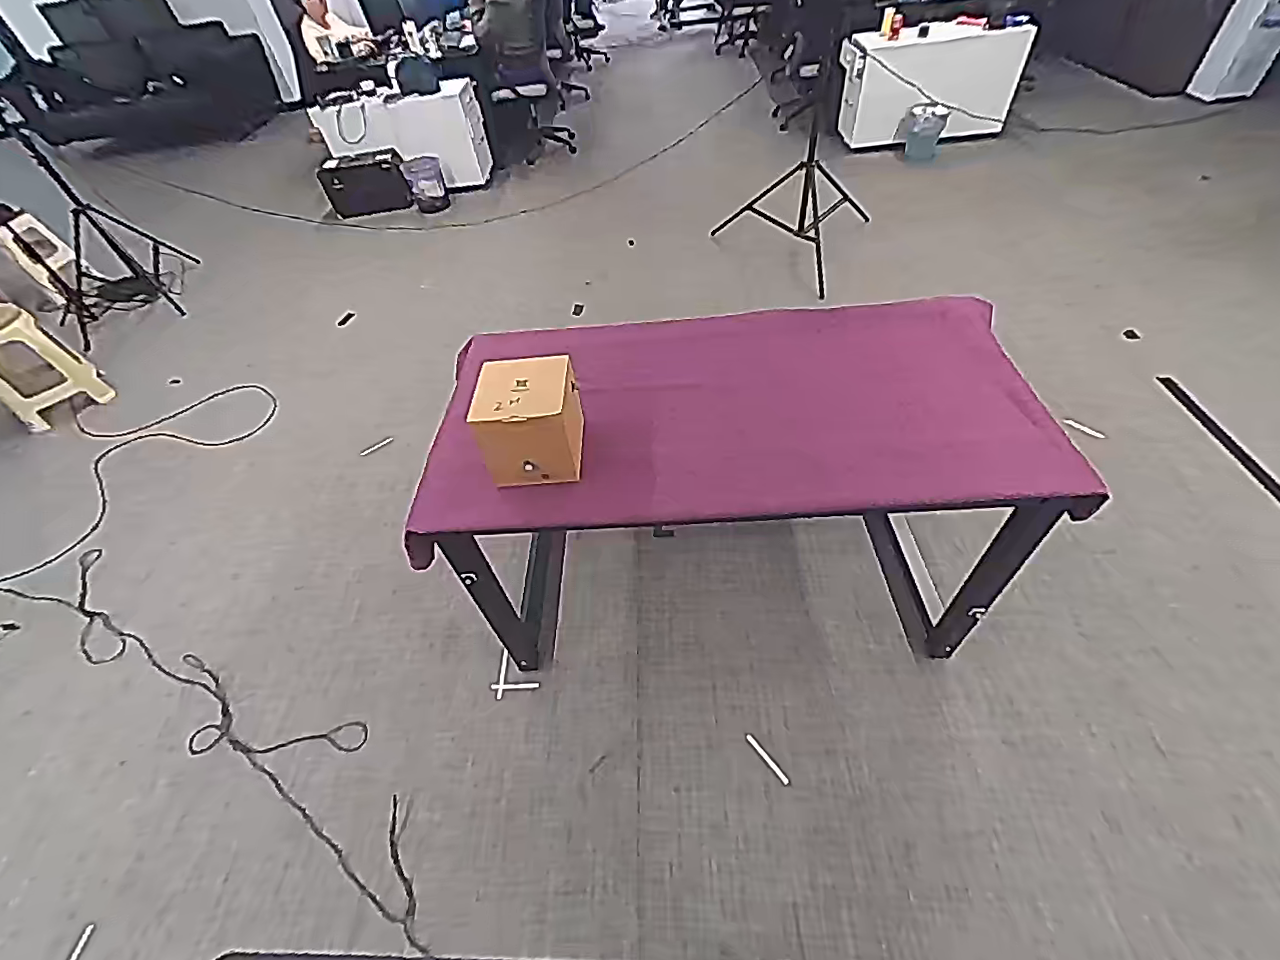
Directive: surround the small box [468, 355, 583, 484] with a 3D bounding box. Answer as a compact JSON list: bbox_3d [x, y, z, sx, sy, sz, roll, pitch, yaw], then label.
[{"bbox_3d":[-0.204,-0.113,1.023,0.168,0.176,0.179,-5,48,4],"label":"small box"}]
